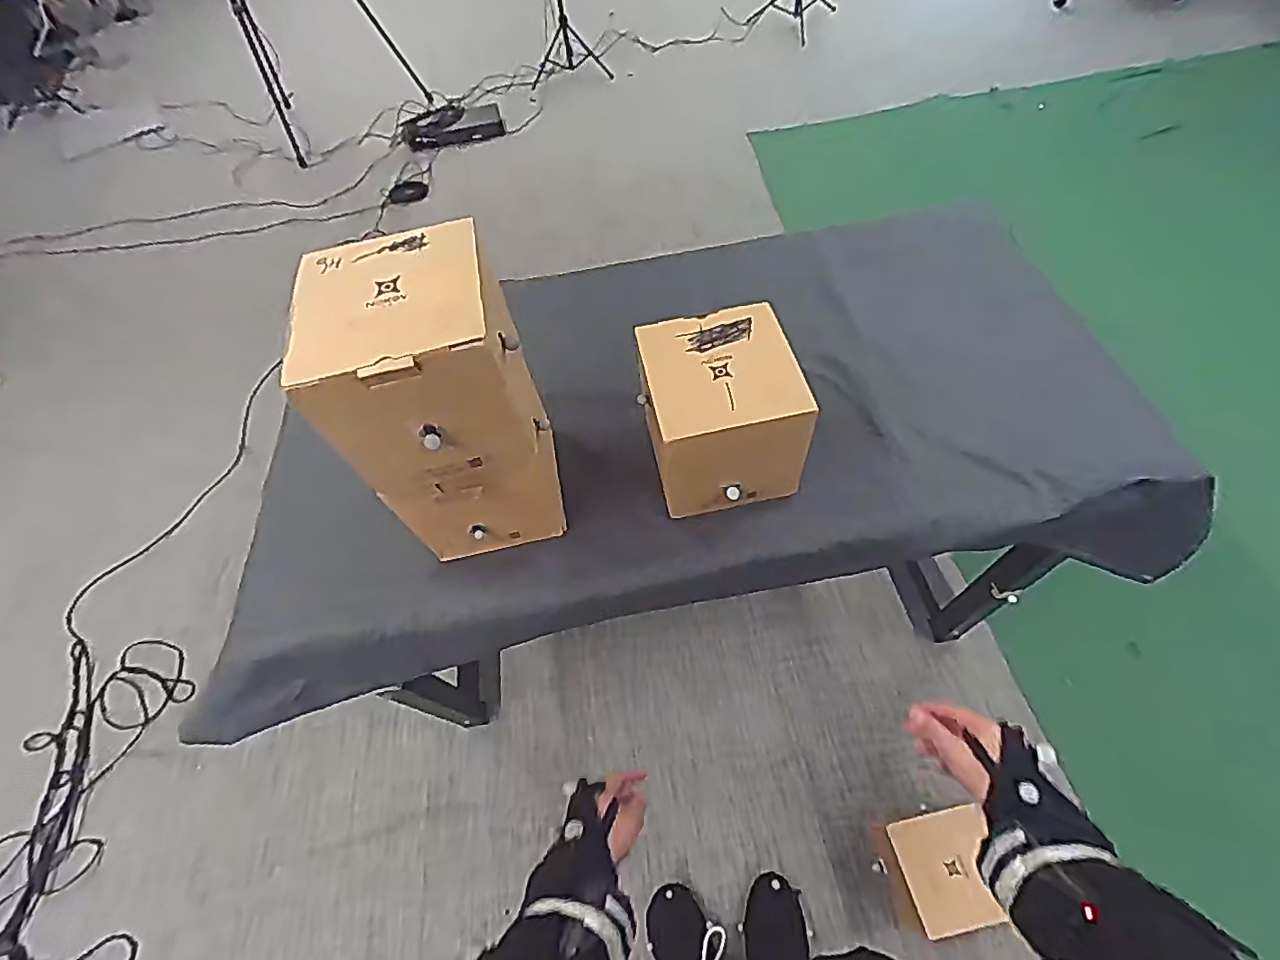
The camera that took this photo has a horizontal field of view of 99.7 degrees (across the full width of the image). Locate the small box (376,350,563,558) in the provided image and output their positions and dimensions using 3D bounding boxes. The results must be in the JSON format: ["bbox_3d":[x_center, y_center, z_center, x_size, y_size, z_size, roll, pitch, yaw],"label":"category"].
[{"bbox_3d":[-0.199,-0.028,0.665,0.168,0.176,0.179,-13,58,-2],"label":"small box"}]

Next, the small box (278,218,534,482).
[{"bbox_3d":[-0.209,-0.114,0.526,0.168,0.176,0.179,-14,58,-3],"label":"small box"}]

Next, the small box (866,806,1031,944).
[{"bbox_3d":[0.541,0.704,0.980,0.179,0.176,0.168,-14,56,-2],"label":"small box"}]

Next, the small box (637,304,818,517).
[{"bbox_3d":[0.096,-0.080,0.660,0.168,0.176,0.179,-12,57,0],"label":"small box"}]
